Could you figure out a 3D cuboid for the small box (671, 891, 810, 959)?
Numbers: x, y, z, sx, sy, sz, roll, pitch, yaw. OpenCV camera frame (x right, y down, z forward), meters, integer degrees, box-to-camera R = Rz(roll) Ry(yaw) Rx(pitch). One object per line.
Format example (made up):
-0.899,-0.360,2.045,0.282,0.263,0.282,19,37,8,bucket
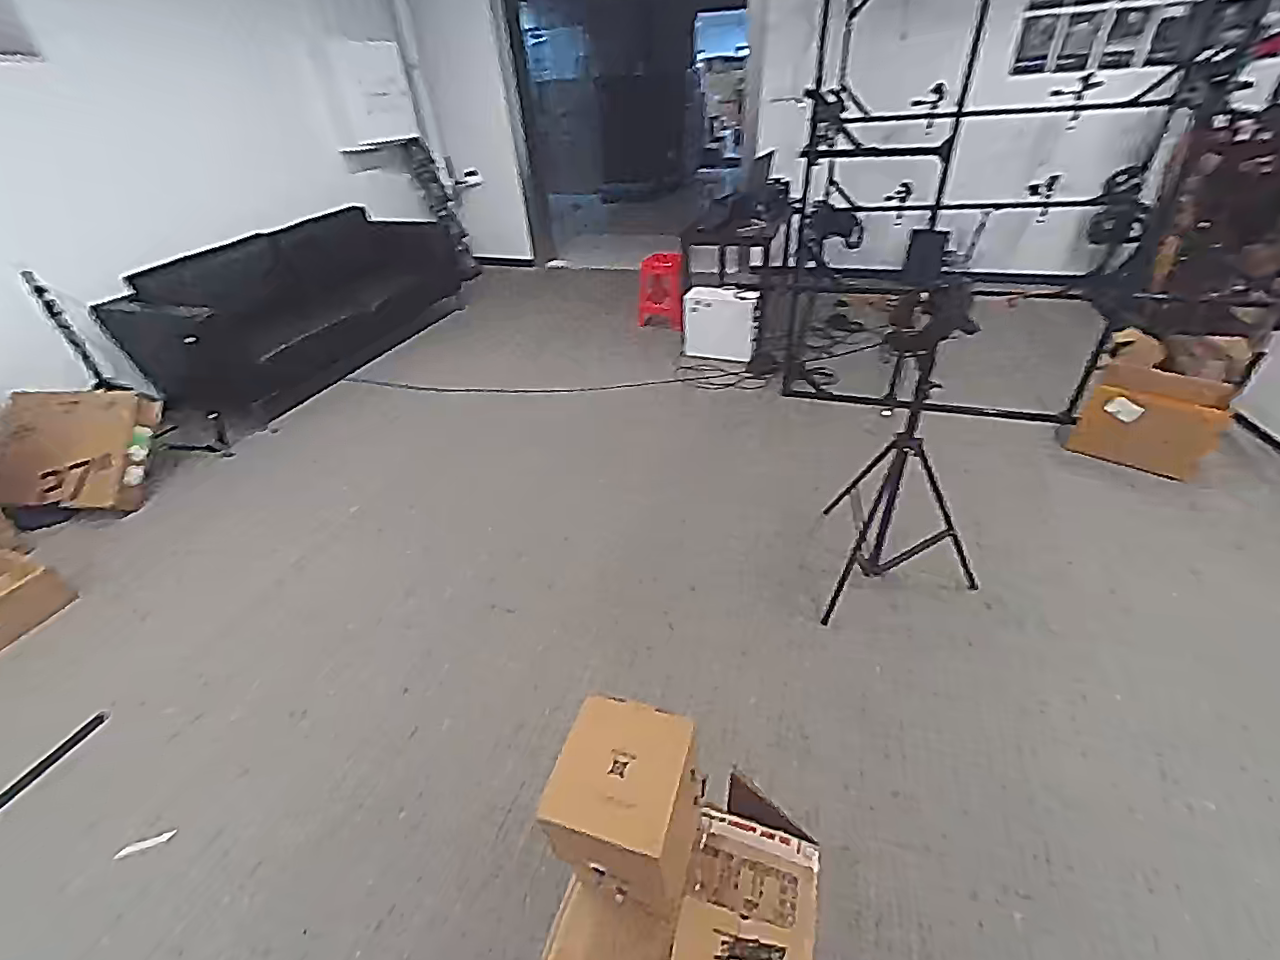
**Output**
0.116,0.678,0.691,0.168,0.176,0.179,8,41,16,small box

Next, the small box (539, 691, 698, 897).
-0.017,0.434,0.756,0.168,0.176,0.179,7,41,18,small box

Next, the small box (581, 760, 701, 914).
-0.001,0.549,0.872,0.168,0.176,0.179,8,40,18,small box
